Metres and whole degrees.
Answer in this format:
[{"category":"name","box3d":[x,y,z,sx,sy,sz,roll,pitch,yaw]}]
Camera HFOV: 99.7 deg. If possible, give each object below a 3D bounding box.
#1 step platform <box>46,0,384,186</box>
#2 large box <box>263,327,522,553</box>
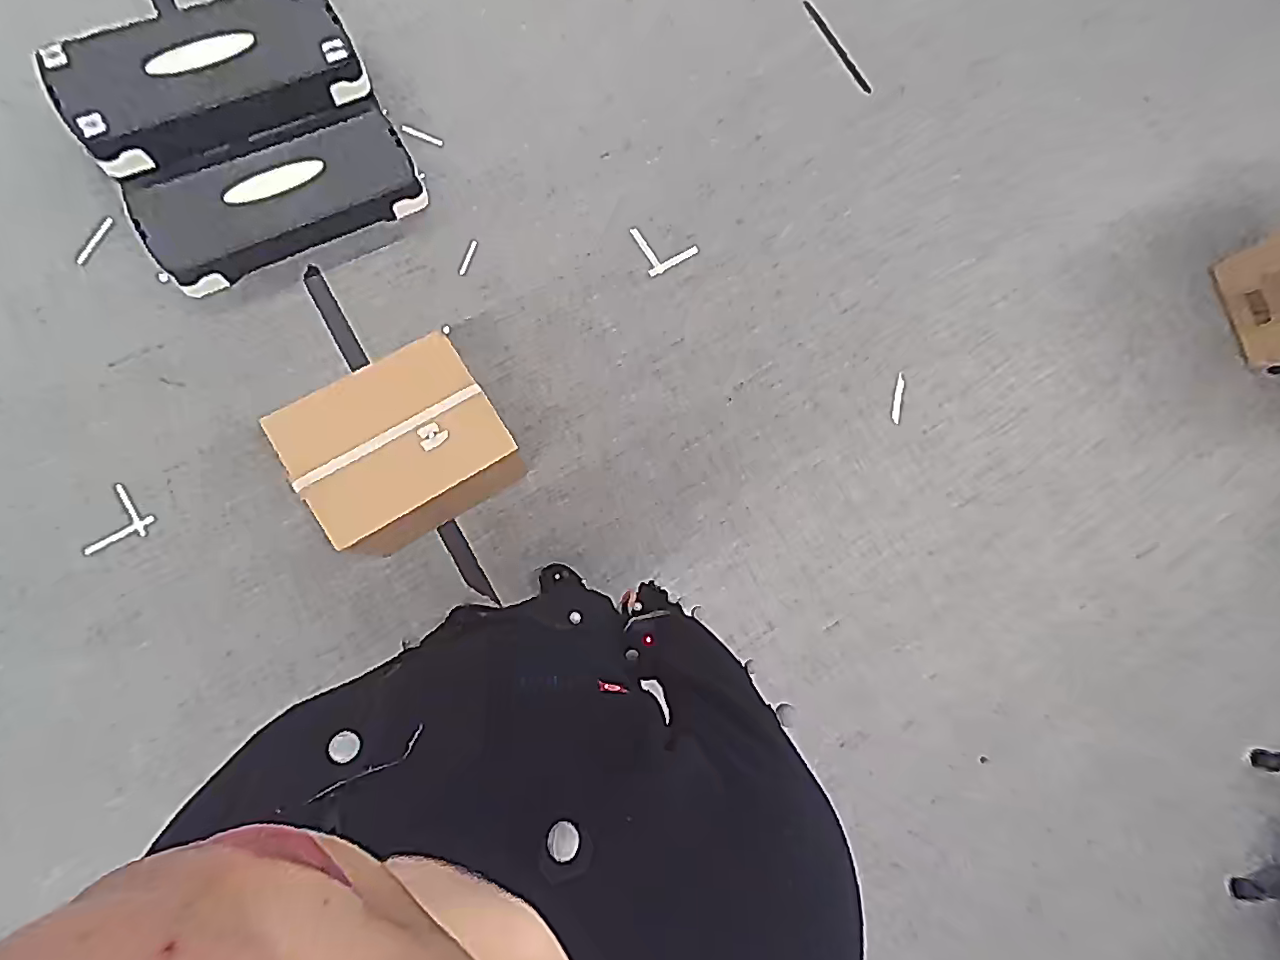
[{"category":"step platform","box3d":[-1.048,-1.019,1.378,0.684,0.204,0.286,-25,85,-13]},{"category":"large box","box3d":[-0.530,-0.072,1.247,0.408,0.320,0.320,-32,87,-13]}]
